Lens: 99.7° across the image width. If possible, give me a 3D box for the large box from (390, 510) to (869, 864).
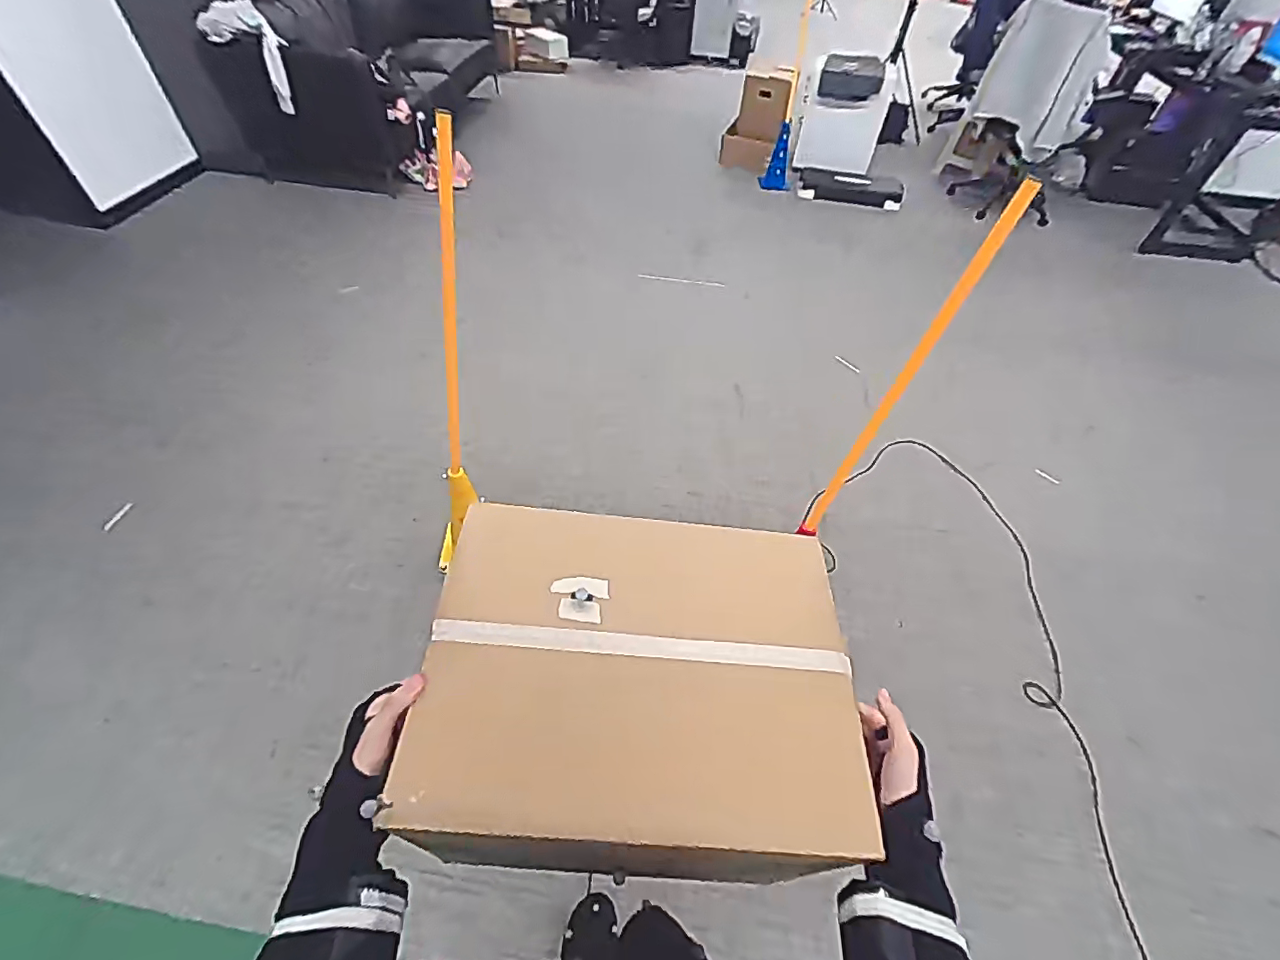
[{"bbox_3d":[-0.012,0.261,0.649,0.408,0.320,0.320,6,50,-3],"label":"large box"}]
